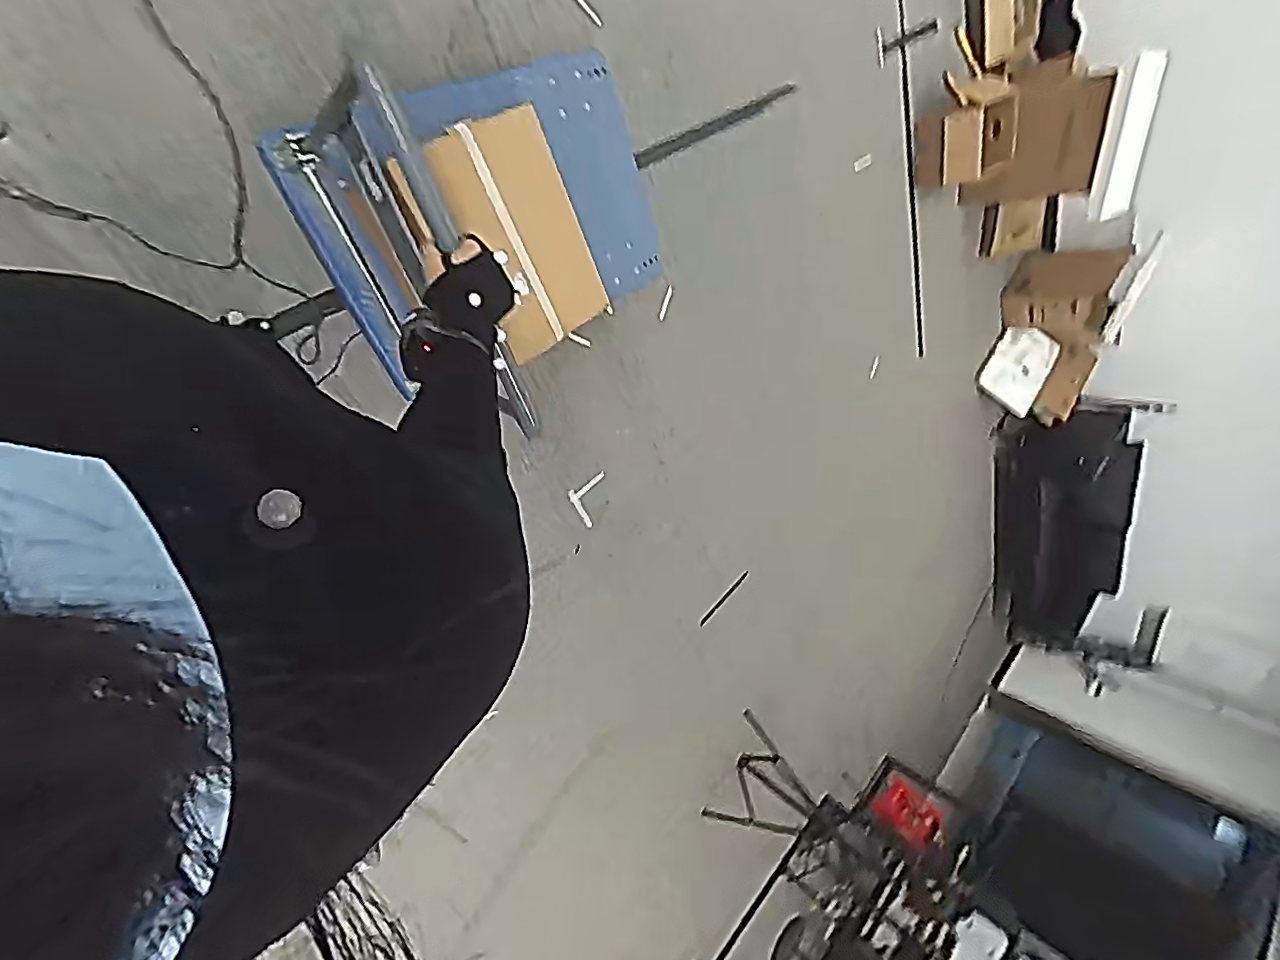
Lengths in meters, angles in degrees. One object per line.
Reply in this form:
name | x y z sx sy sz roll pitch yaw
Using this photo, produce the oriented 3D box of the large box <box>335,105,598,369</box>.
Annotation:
large box | -0.361 -0.500 1.165 0.320 0.320 0.408 -41 127 -24
